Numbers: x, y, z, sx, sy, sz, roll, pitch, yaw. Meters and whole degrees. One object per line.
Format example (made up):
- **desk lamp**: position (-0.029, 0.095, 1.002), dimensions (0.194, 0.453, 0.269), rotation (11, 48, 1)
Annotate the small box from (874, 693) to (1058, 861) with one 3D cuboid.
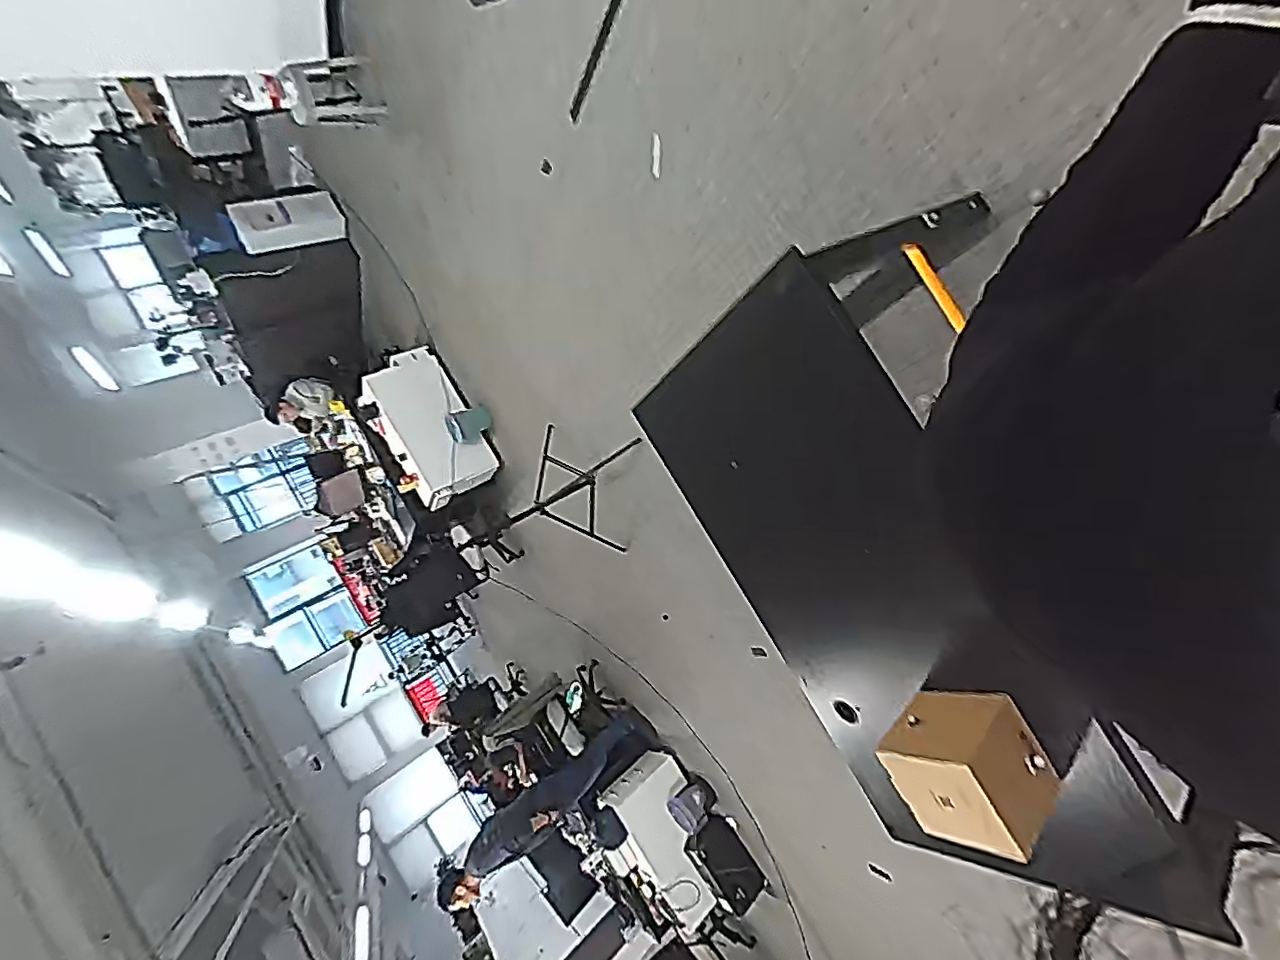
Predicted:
- **small box**: position (0.542, 0.477, 0.904), dimensions (0.168, 0.176, 0.179), rotation (58, 148, 2)
